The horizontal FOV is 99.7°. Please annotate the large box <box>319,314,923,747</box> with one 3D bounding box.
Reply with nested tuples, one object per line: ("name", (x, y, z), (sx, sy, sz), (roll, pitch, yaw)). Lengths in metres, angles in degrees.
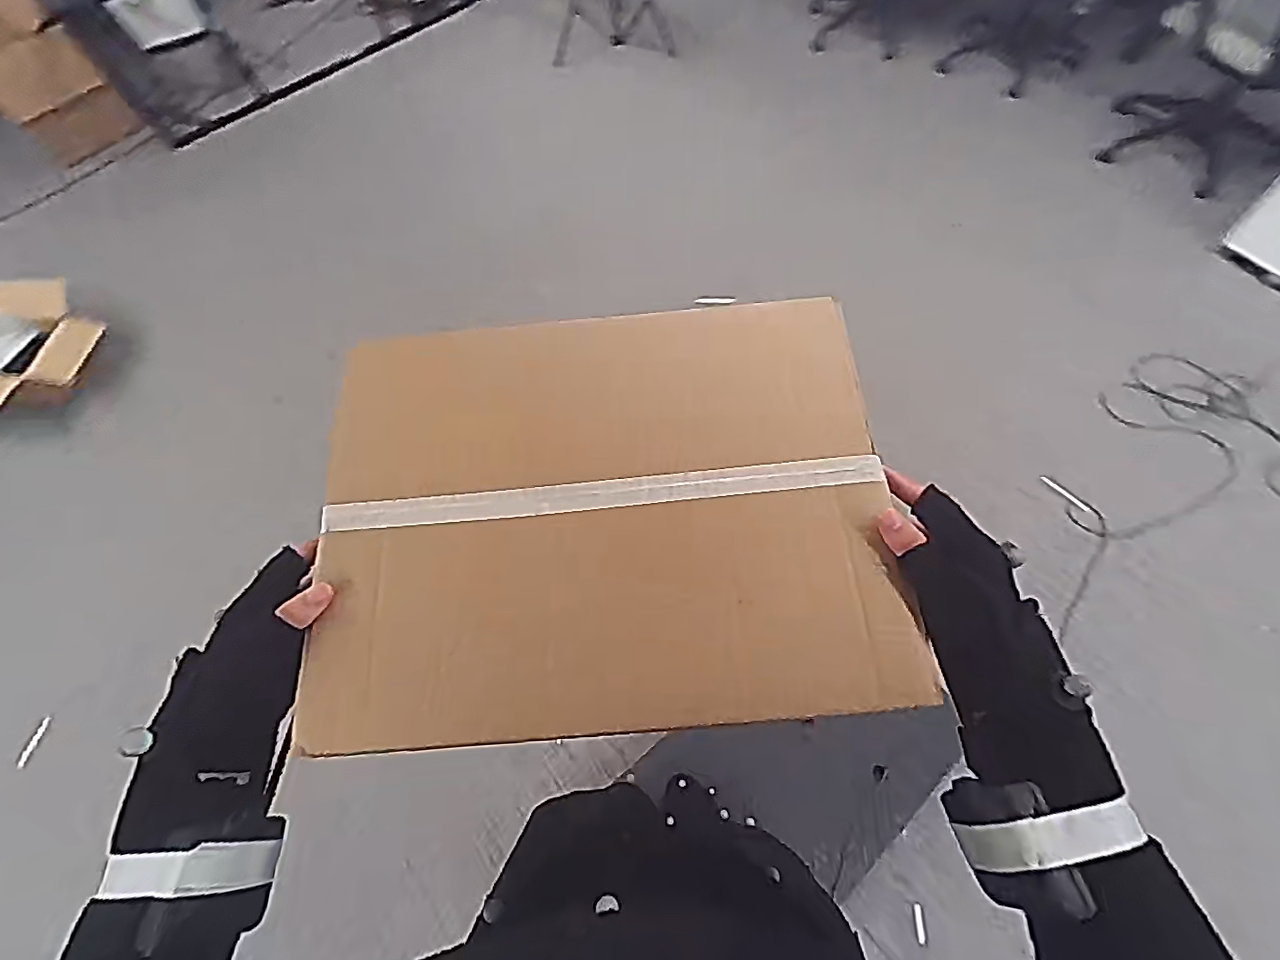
("large box", (-0.015, 0.069, 0.541), (0.408, 0.320, 0.320), (-3, 68, 1))
